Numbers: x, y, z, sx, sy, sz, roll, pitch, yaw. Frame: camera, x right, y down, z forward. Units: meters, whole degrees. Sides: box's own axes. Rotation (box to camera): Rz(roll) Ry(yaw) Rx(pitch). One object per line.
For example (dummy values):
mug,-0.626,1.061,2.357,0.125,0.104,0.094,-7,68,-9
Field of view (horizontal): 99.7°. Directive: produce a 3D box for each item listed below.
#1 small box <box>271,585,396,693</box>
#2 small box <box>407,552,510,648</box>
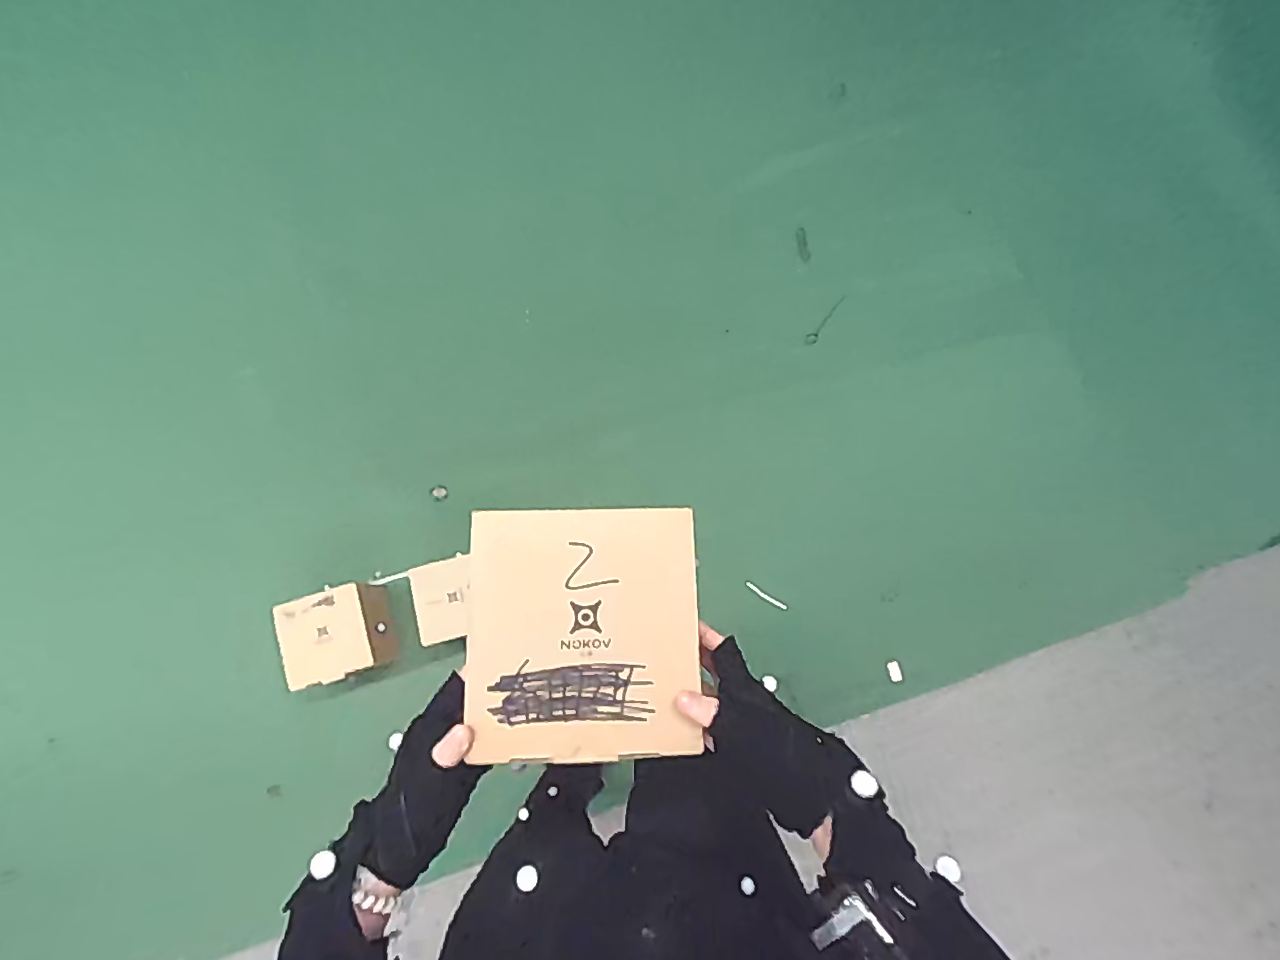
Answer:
small box,-0.650,0.331,1.165,0.168,0.176,0.179,-17,81,-10
small box,-0.395,0.264,1.208,0.179,0.176,0.168,-13,79,-9
